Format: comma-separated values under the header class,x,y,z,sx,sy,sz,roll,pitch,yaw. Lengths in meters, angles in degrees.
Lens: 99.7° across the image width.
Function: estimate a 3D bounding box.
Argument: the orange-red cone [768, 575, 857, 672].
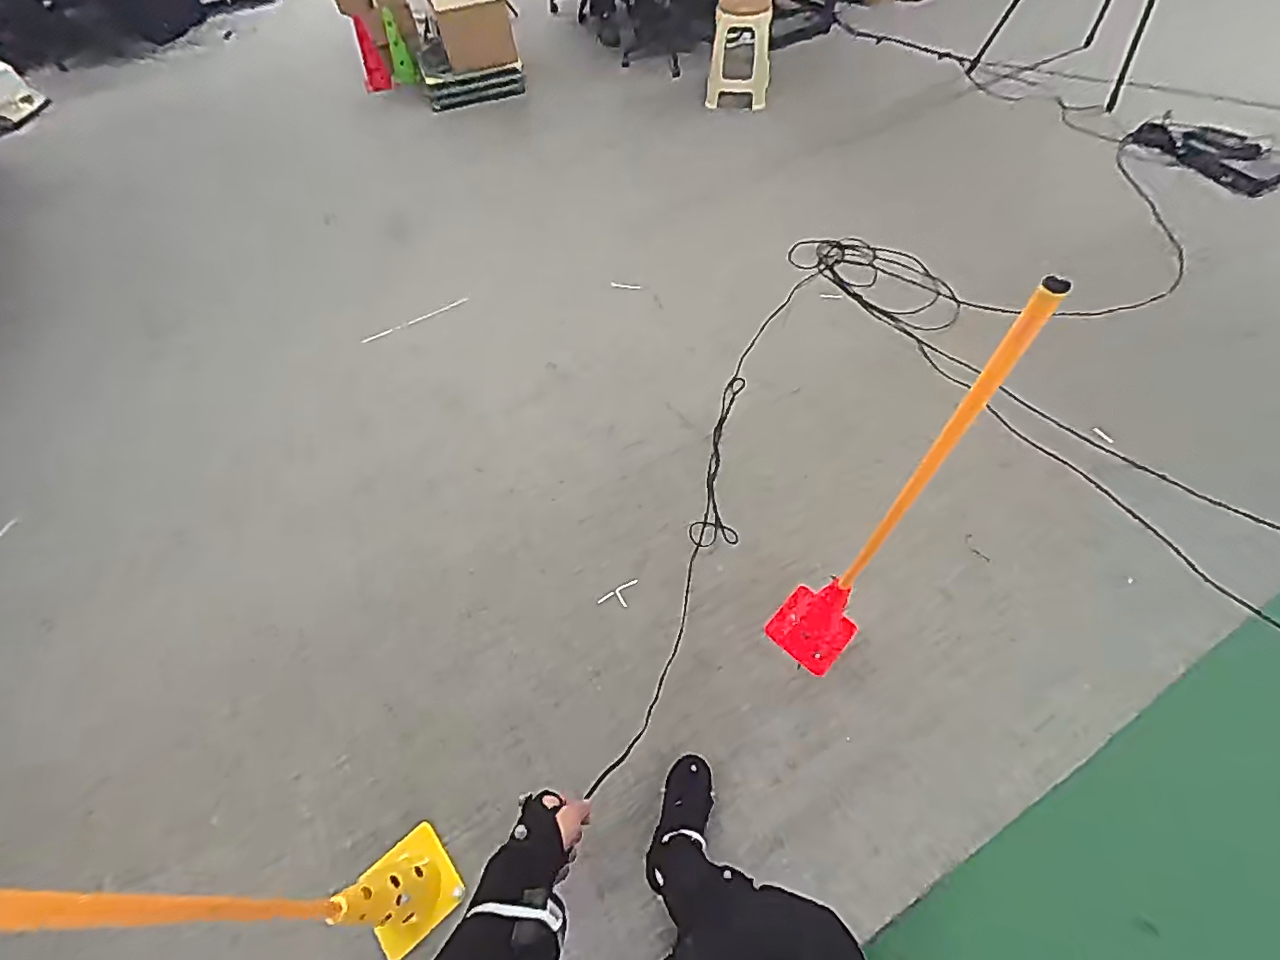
class,x,y,z,sx,sy,sz,roll,pitch,yaw
orange-red cone,0.486,0.327,1.394,0.199,0.360,0.198,-40,65,-21
